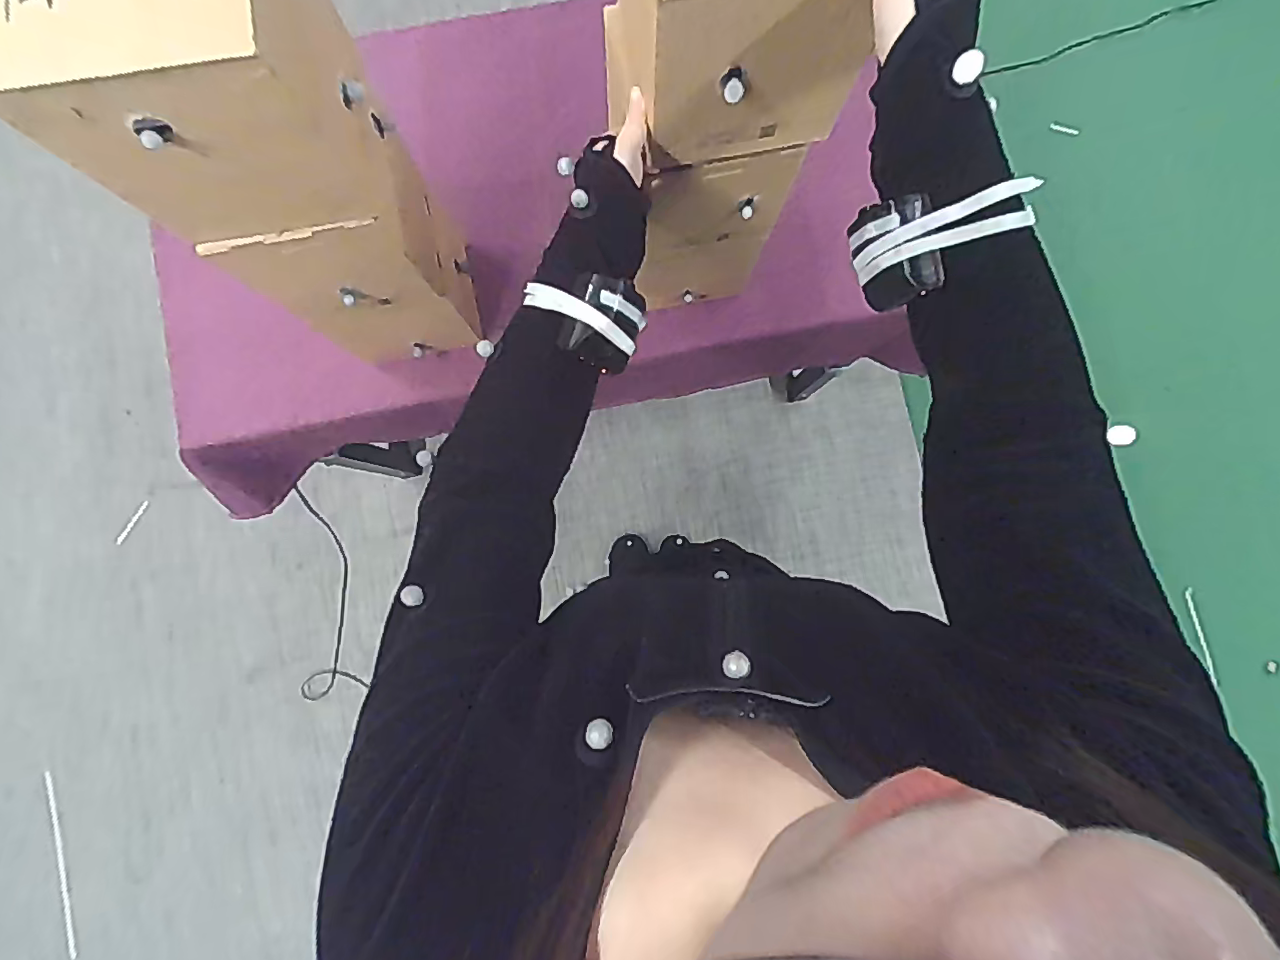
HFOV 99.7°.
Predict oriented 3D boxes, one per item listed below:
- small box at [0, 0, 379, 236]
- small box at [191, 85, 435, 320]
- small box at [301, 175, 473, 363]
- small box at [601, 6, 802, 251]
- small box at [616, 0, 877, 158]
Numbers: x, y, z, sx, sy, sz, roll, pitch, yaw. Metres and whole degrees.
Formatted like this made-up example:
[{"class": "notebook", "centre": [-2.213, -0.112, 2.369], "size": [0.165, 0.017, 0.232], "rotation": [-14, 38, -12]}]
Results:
[{"class": "small box", "centre": [-0.331, -0.312, 0.413], "size": [0.179, 0.176, 0.168], "rotation": [-10, 85, -3]}, {"class": "small box", "centre": [-0.339, -0.295, 0.577], "size": [0.168, 0.176, 0.179], "rotation": [-11, 85, -1]}, {"class": "small box", "centre": [-0.341, -0.276, 0.741], "size": [0.179, 0.176, 0.168], "rotation": [-13, 85, -3]}, {"class": "small box", "centre": [0.057, -0.373, 0.591], "size": [0.168, 0.176, 0.179], "rotation": [-12, 86, -3]}, {"class": "small box", "centre": [0.071, -0.379, 0.413], "size": [0.168, 0.176, 0.179], "rotation": [-11, 86, 0]}]
